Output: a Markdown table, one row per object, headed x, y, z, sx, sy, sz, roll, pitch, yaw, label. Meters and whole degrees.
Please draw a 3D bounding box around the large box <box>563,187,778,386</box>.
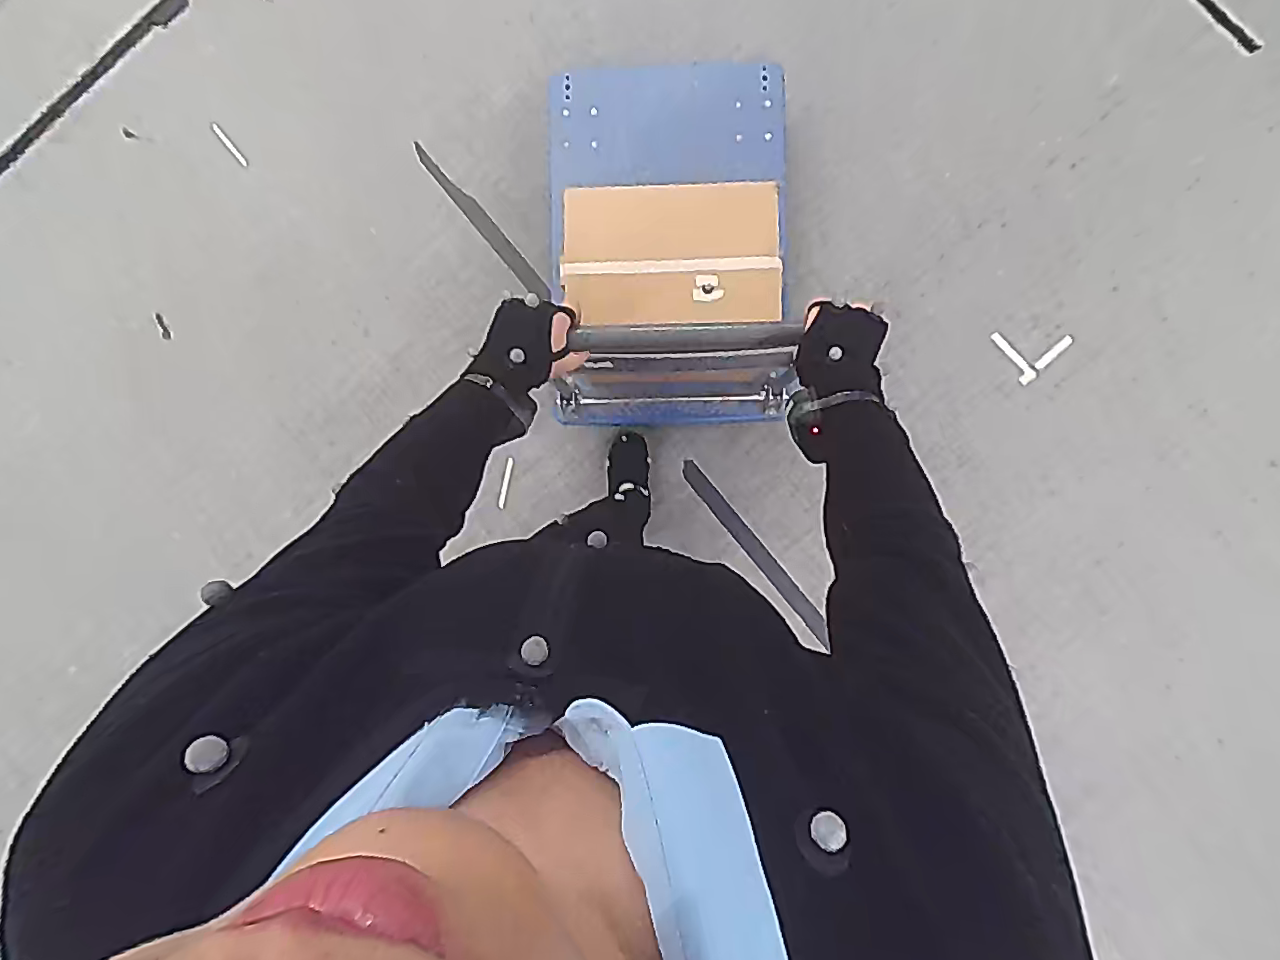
| x | y | z | sx | sy | sz | roll | pitch | yaw | label |
| --- | --- | --- | --- | --- | --- | --- | --- | --- | --- |
| 0.058 | -0.390 | 1.164 | 0.408 | 0.320 | 0.320 | -1 | 90 | 1 | large box |
